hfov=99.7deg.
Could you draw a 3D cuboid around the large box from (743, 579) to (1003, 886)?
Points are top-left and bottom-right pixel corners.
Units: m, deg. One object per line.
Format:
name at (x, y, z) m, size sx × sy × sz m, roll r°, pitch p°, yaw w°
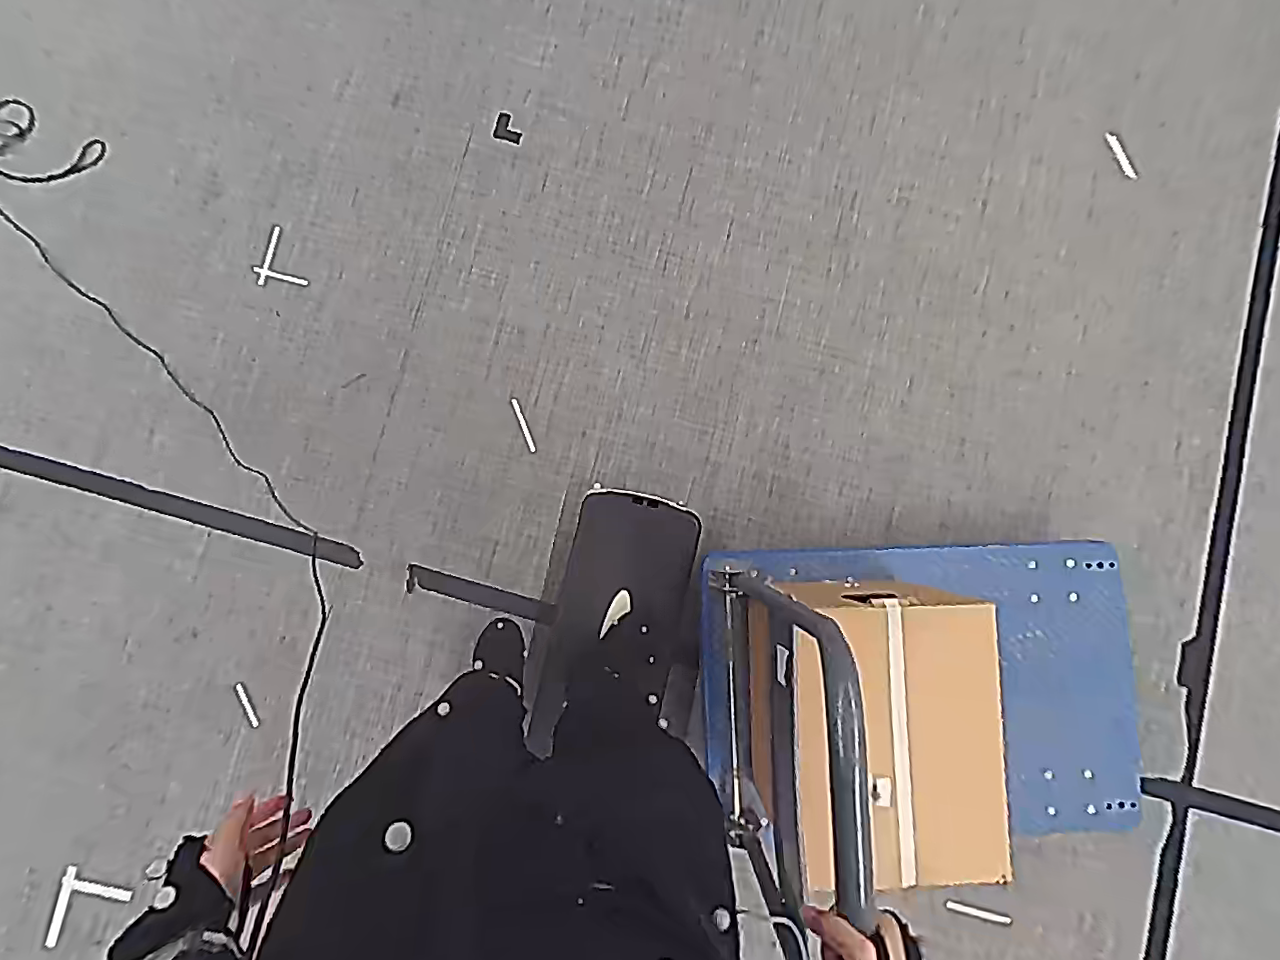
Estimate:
large box at (0.373, 0.398, 0.953) m, size 0.320 × 0.320 × 0.408 m, roll -1°, pitch 87°, yaw -1°
